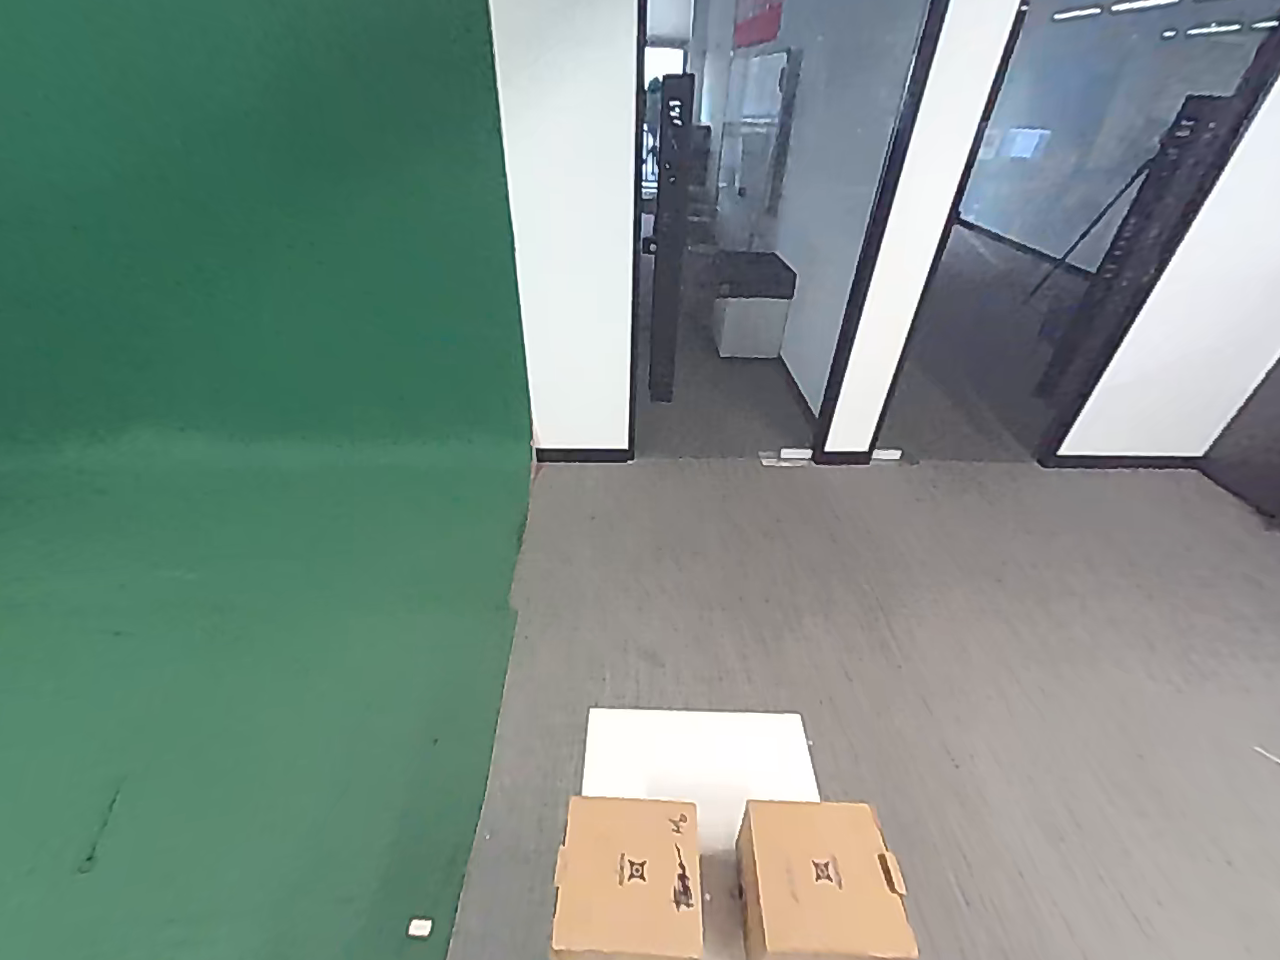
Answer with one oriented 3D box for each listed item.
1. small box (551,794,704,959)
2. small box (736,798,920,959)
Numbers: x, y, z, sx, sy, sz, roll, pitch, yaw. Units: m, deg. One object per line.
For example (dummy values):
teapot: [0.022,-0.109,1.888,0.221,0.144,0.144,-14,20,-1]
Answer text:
small box: [-0.014,0.542,0.713,0.179,0.176,0.168,3,37,0]
small box: [0.232,0.551,0.719,0.179,0.176,0.168,1,36,2]
